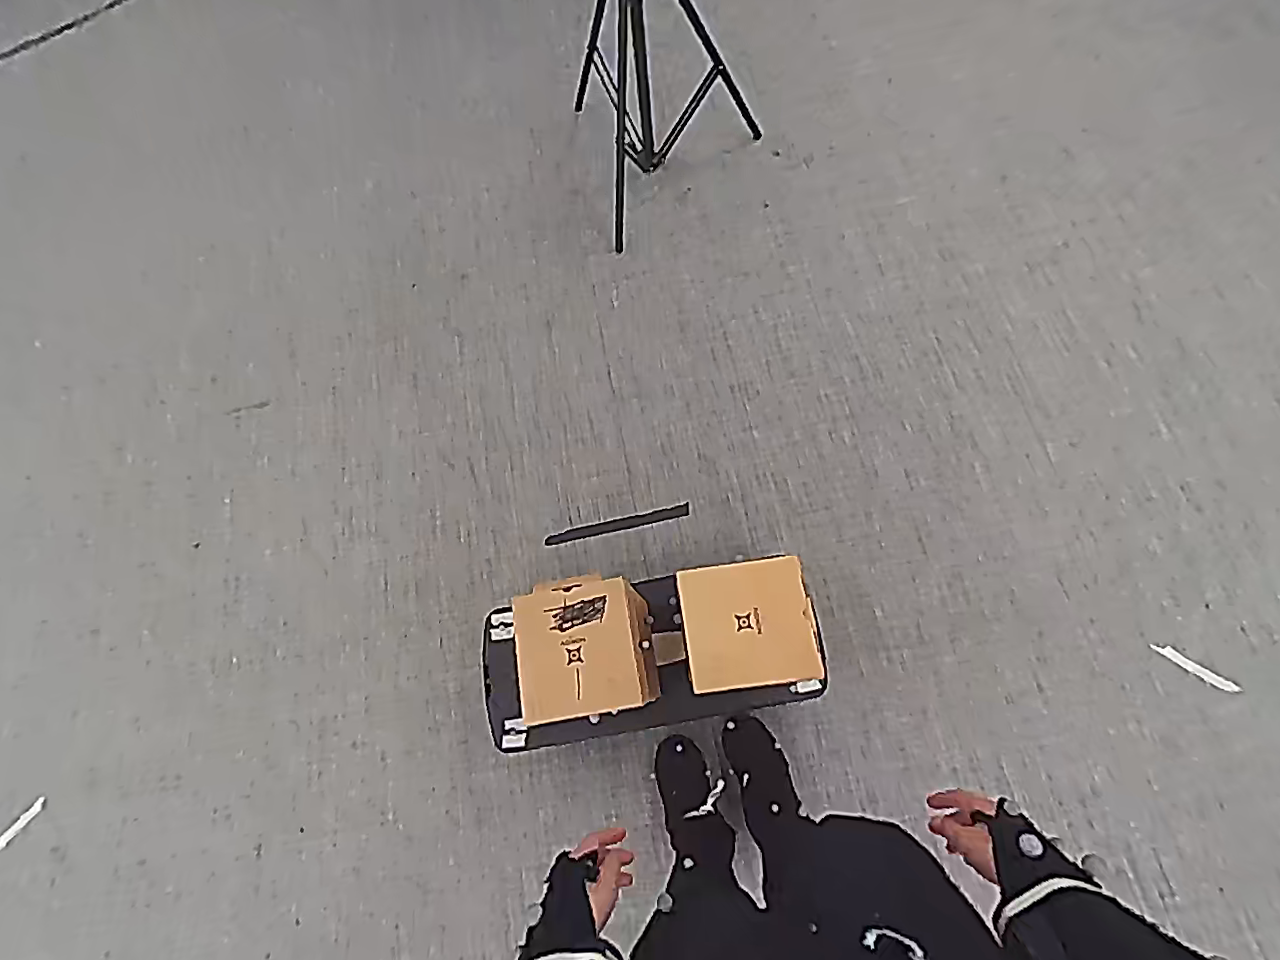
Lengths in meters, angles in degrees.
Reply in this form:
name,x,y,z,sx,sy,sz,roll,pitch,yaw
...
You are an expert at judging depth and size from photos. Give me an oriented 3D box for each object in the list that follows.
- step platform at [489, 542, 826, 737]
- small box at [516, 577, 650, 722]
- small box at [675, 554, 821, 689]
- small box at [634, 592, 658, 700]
name,x,y,z,sx,sy,sz,roll,pitch,yaw
step platform,0.032,0.335,1.146,0.684,0.204,0.286,-12,70,2
small box,-0.082,0.257,0.825,0.168,0.176,0.179,-10,71,3
small box,0.153,0.218,0.816,0.179,0.176,0.168,-9,71,2
small box,-0.064,0.312,0.979,0.168,0.176,0.179,-10,71,3
